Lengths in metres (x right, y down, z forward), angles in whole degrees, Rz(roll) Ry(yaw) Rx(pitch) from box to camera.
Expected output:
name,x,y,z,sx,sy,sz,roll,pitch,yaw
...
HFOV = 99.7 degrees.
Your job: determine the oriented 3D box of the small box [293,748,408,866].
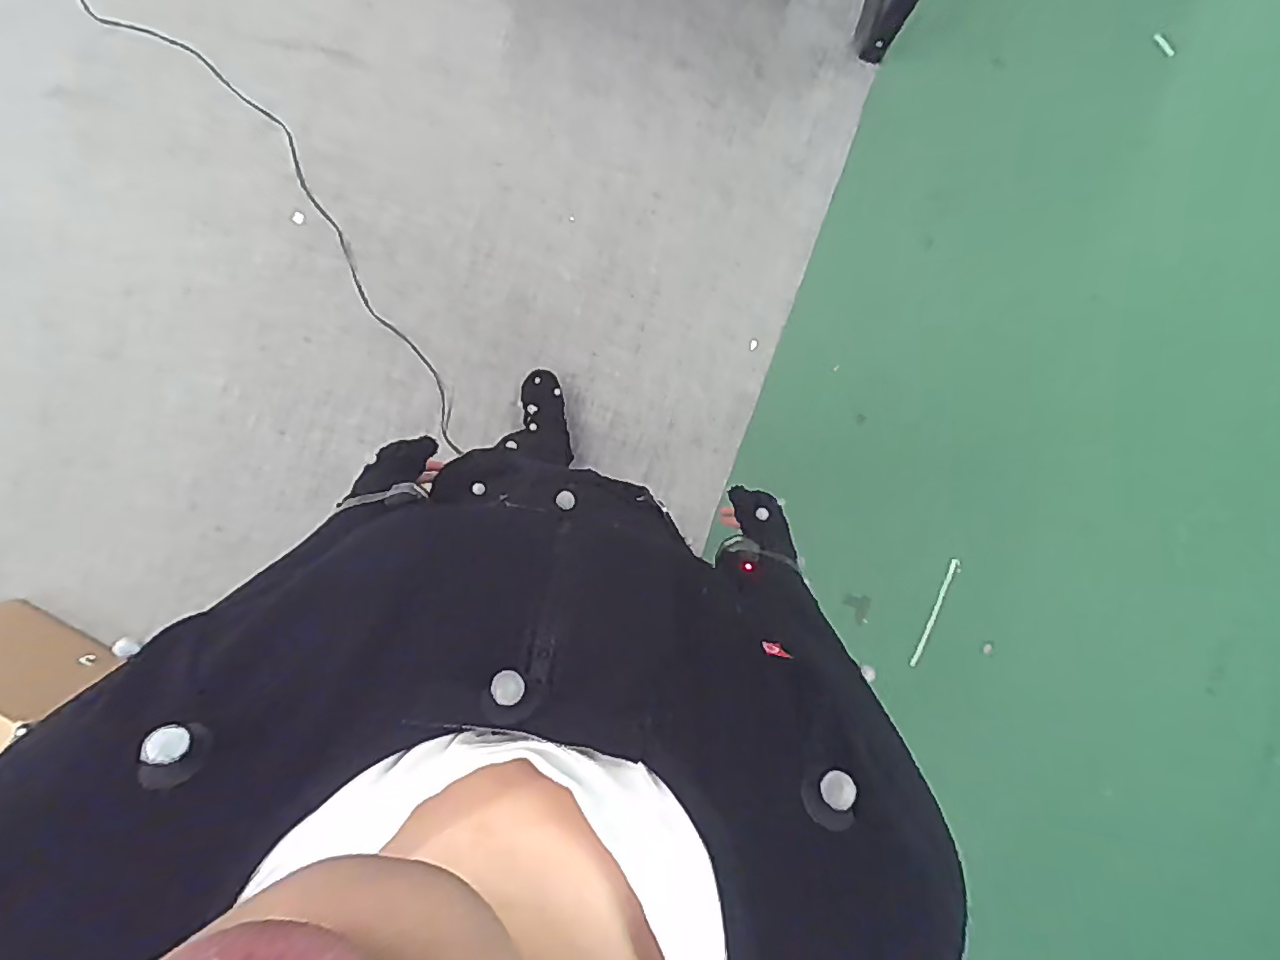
name,x,y,z,sx,sy,sz,roll,pitch,yaw
small box,-0.717,0.810,1.361,0.179,0.176,0.168,20,91,1
